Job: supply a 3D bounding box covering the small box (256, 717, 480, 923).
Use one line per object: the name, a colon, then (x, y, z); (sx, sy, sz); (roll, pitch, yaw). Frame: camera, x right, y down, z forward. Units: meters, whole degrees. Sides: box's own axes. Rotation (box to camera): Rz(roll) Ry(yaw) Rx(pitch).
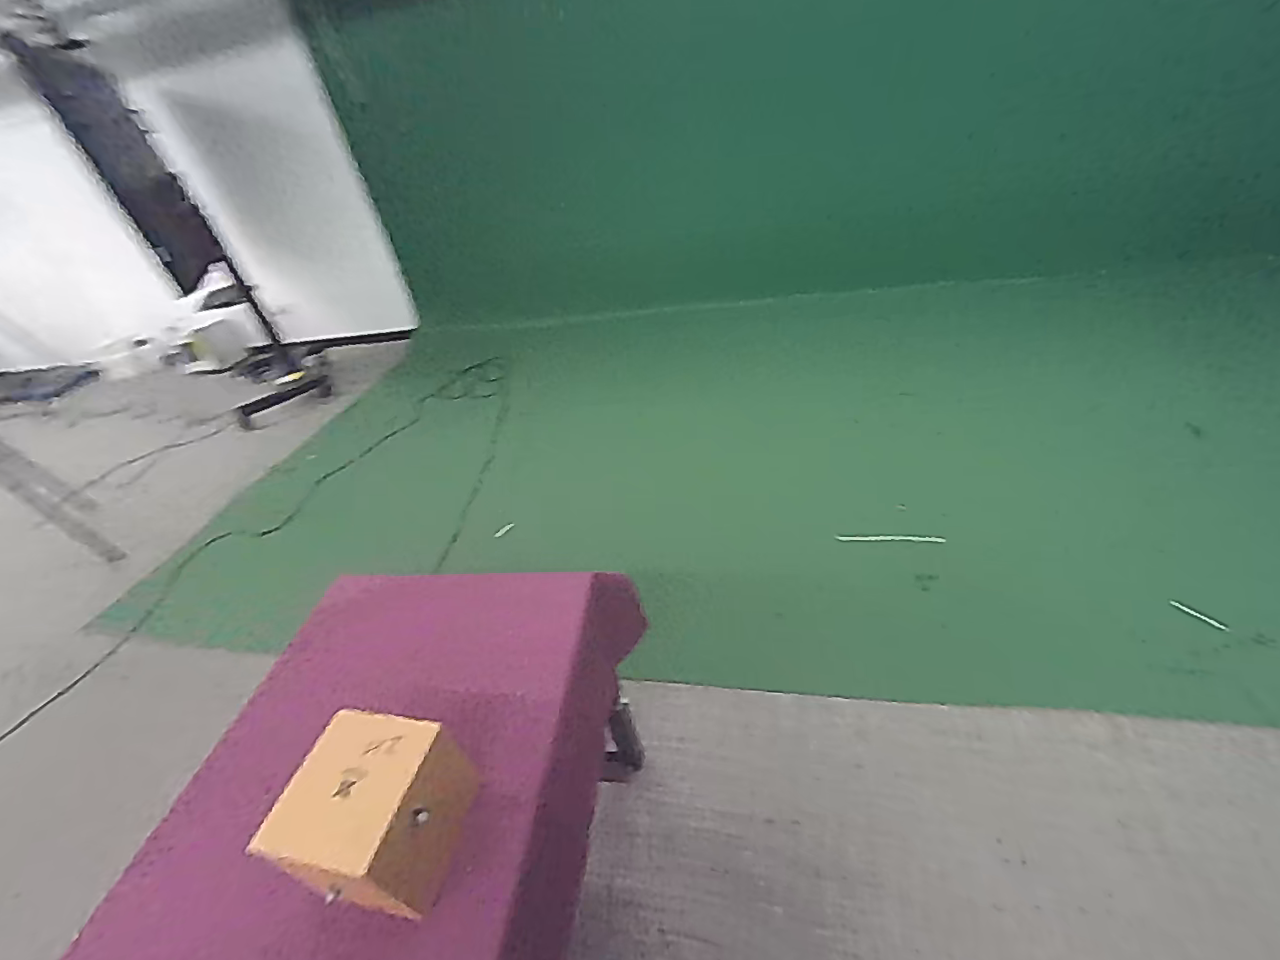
small box: (-0.340, 0.449, 0.718); (0.168, 0.176, 0.179); (0, 38, 17)
